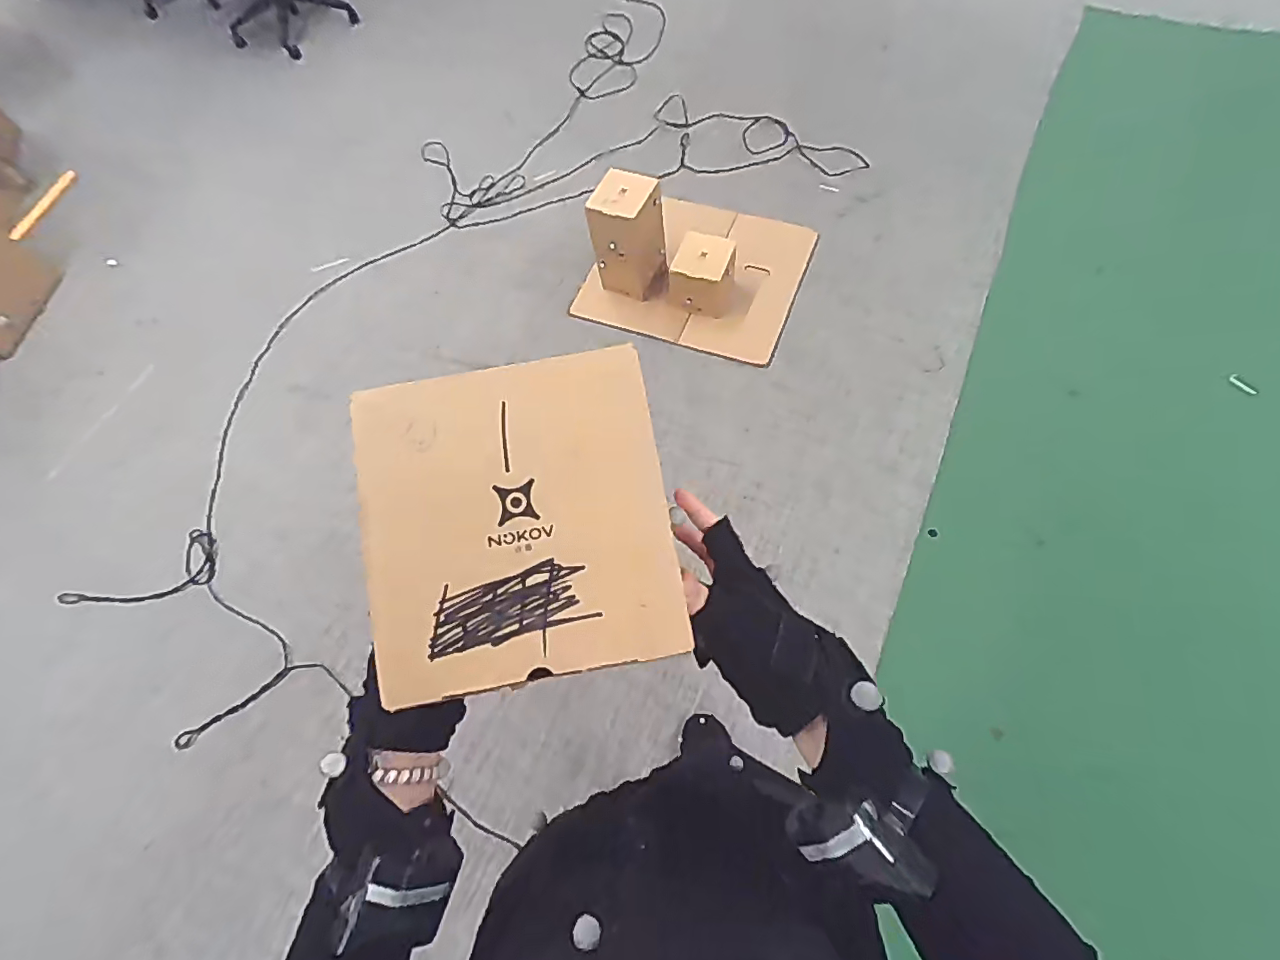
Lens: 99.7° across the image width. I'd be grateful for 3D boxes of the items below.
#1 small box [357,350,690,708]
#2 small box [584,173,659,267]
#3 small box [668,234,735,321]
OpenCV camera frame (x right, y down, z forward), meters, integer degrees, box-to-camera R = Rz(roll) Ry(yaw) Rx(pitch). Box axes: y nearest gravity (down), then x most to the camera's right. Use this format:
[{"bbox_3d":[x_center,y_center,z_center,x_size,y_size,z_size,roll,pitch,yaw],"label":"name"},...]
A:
[{"bbox_3d":[-0.065,0.034,0.374,0.168,0.176,0.179,-10,81,-2],"label":"small box"},{"bbox_3d":[-0.049,-0.788,1.643,0.168,0.176,0.179,22,70,16],"label":"small box"},{"bbox_3d":[0.195,-0.648,1.739,0.168,0.176,0.179,18,70,13],"label":"small box"}]
